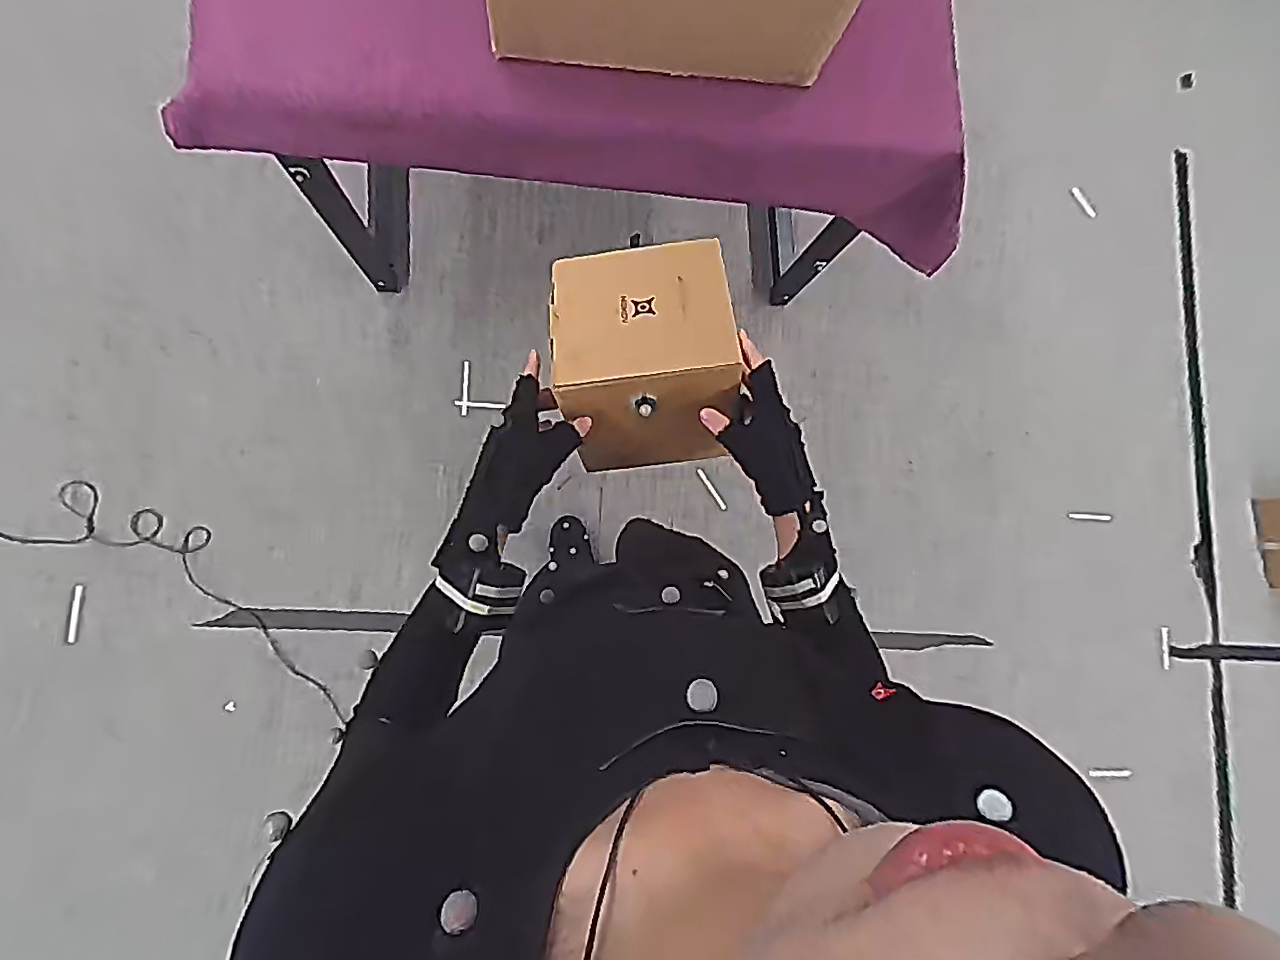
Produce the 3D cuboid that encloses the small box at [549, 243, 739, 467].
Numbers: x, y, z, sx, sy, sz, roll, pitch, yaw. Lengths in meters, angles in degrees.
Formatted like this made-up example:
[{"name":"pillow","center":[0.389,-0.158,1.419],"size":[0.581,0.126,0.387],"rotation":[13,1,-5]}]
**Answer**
[{"name":"small box","center":[0.008,-0.125,0.592],"size":[0.179,0.176,0.168],"rotation":[-6,62,3]}]
